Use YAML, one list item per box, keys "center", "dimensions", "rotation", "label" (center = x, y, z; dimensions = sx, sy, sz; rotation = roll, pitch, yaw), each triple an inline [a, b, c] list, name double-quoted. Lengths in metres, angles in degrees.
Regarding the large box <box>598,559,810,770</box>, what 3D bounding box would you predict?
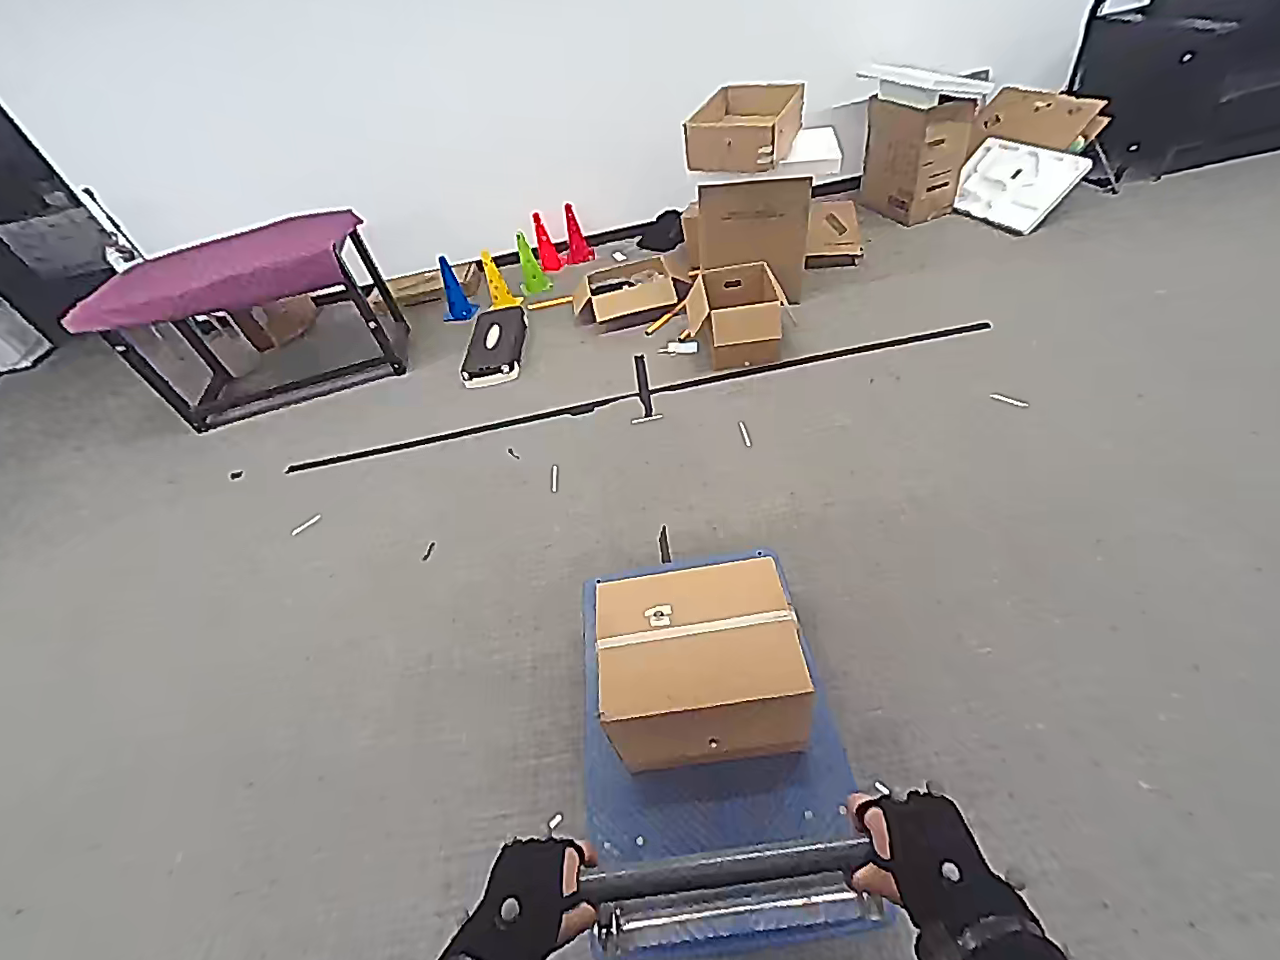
- center: [0.140, 0.426, 1.235]
  dimensions: [0.408, 0.320, 0.320]
  rotation: [-11, 44, 4]
  label: "large box"
